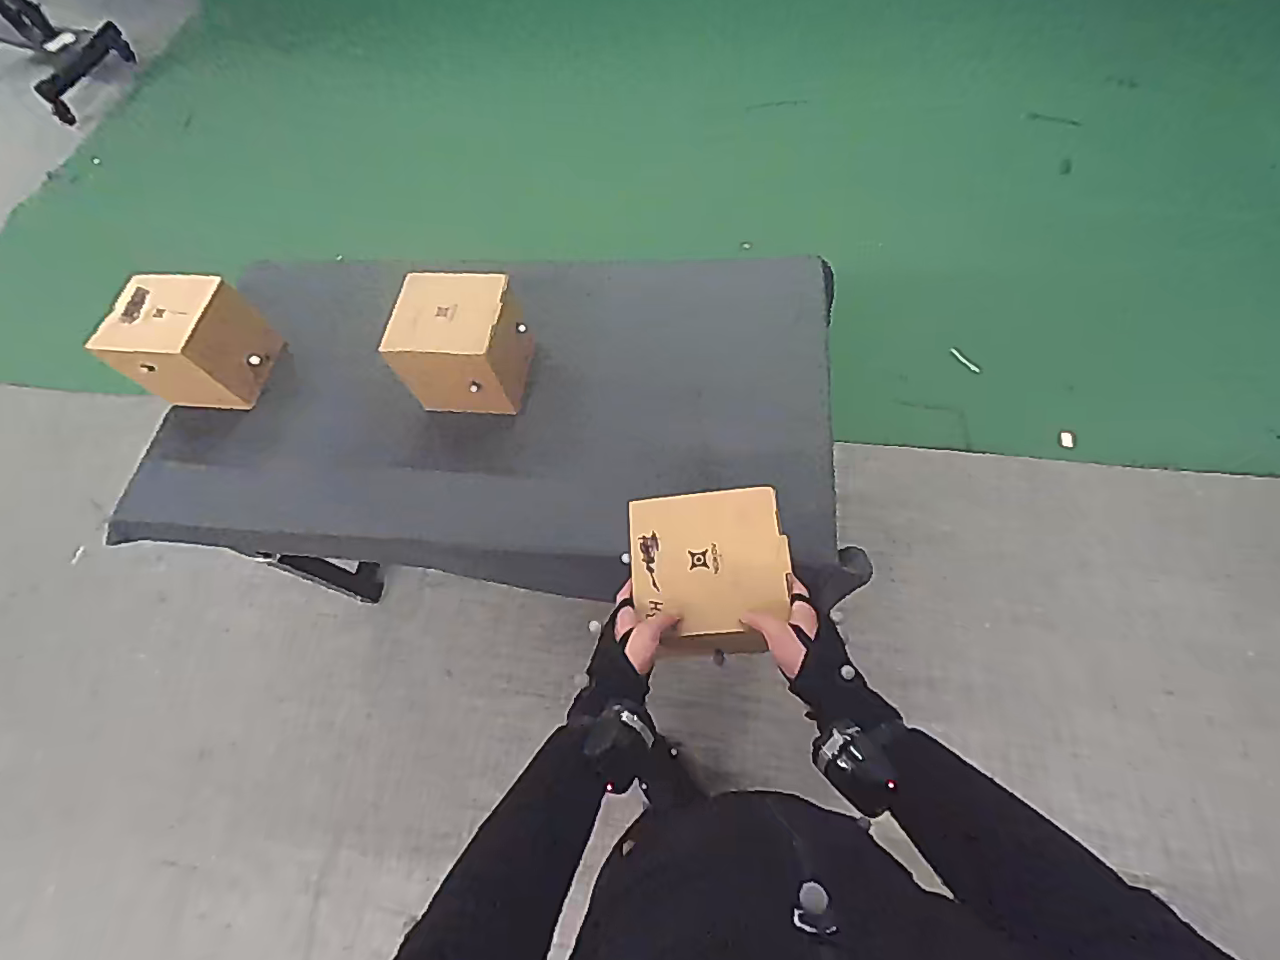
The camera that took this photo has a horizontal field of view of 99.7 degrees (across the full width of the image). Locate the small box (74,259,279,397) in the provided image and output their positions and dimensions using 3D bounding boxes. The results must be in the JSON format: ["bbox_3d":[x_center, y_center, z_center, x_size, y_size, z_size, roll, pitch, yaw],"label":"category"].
[{"bbox_3d":[-0.793,-0.261,0.947,0.179,0.176,0.168,5,66,5],"label":"small box"}]

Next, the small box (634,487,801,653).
[{"bbox_3d":[0.089,0.120,0.675,0.179,0.176,0.168,-5,65,6],"label":"small box"}]

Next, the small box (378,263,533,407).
[{"bbox_3d":[-0.290,-0.235,0.900,0.179,0.176,0.168,3,64,7],"label":"small box"}]
